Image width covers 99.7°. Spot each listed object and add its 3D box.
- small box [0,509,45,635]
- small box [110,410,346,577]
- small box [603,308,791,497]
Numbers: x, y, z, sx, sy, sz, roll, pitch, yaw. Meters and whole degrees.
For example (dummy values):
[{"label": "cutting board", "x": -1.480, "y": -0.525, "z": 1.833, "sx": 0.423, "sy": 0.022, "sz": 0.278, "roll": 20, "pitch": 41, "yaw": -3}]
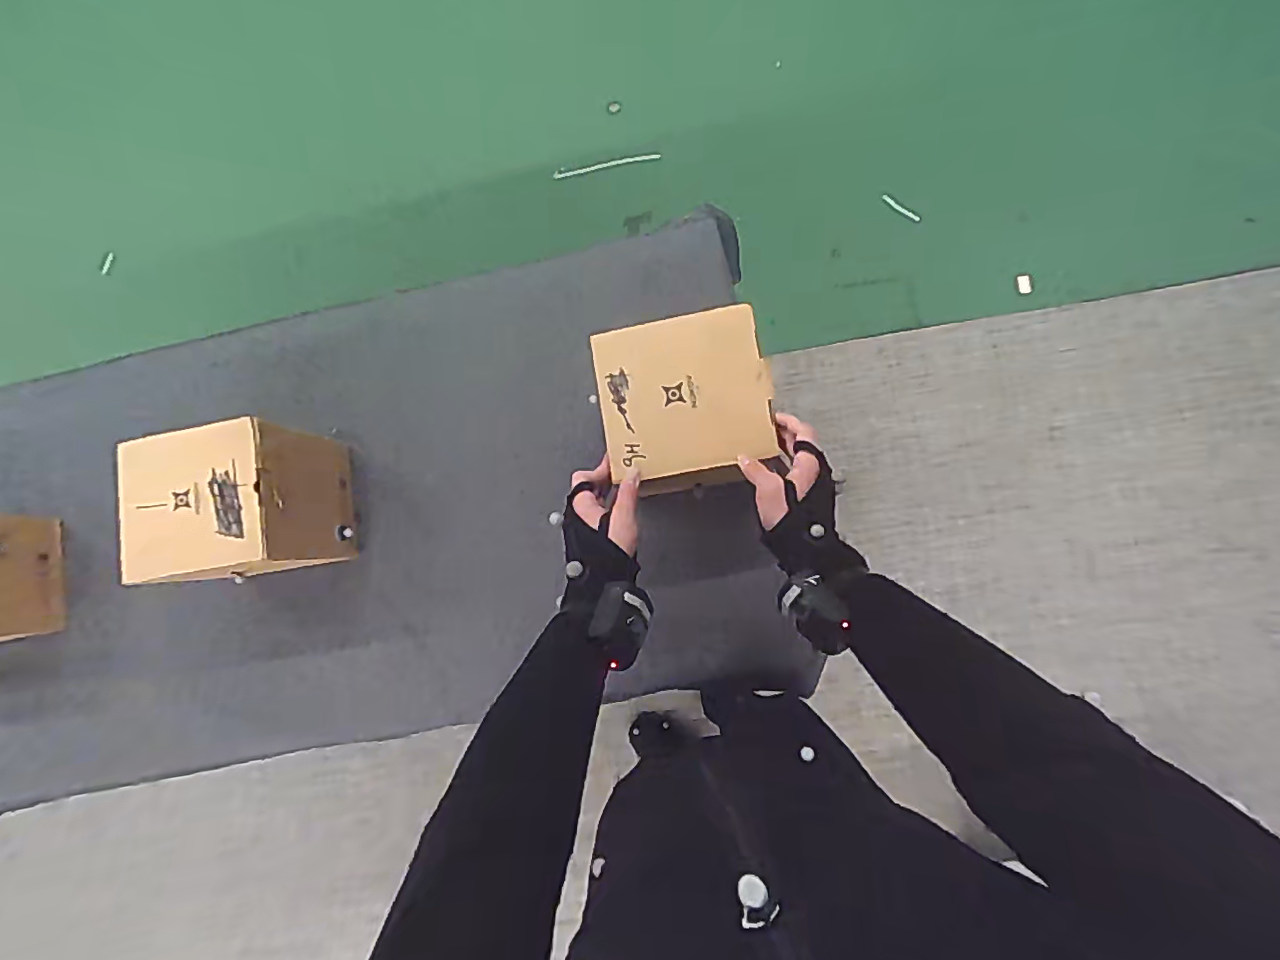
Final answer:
[{"label": "small box", "x": -0.928, "y": 0.126, "z": 0.690, "sx": 0.179, "sy": 0.176, "sz": 0.168, "roll": -11, "pitch": 80, "yaw": 4}, {"label": "small box", "x": -0.488, "y": 0.023, "z": 0.666, "sx": 0.179, "sy": 0.176, "sz": 0.168, "roll": -9, "pitch": 81, "yaw": 4}, {"label": "small box", "x": 0.061, "y": -0.077, "z": 0.631, "sx": 0.179, "sy": 0.176, "sz": 0.168, "roll": -9, "pitch": 81, "yaw": 4}]
